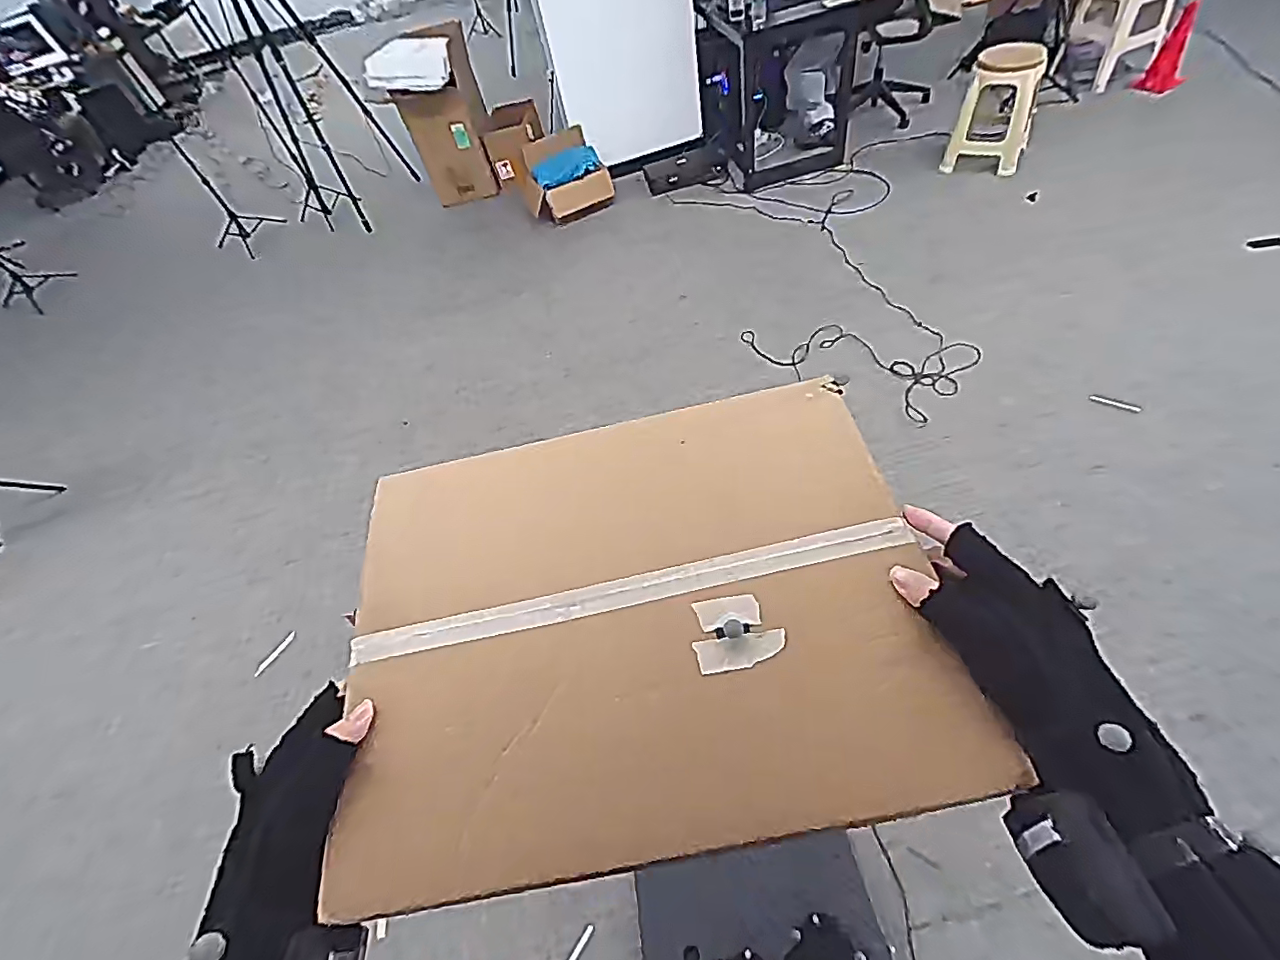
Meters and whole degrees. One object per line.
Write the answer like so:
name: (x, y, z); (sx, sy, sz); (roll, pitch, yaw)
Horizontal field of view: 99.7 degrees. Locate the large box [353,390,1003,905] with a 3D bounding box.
large box: (0.016, 0.168, 0.523); (0.408, 0.320, 0.320); (-13, 56, 2)
